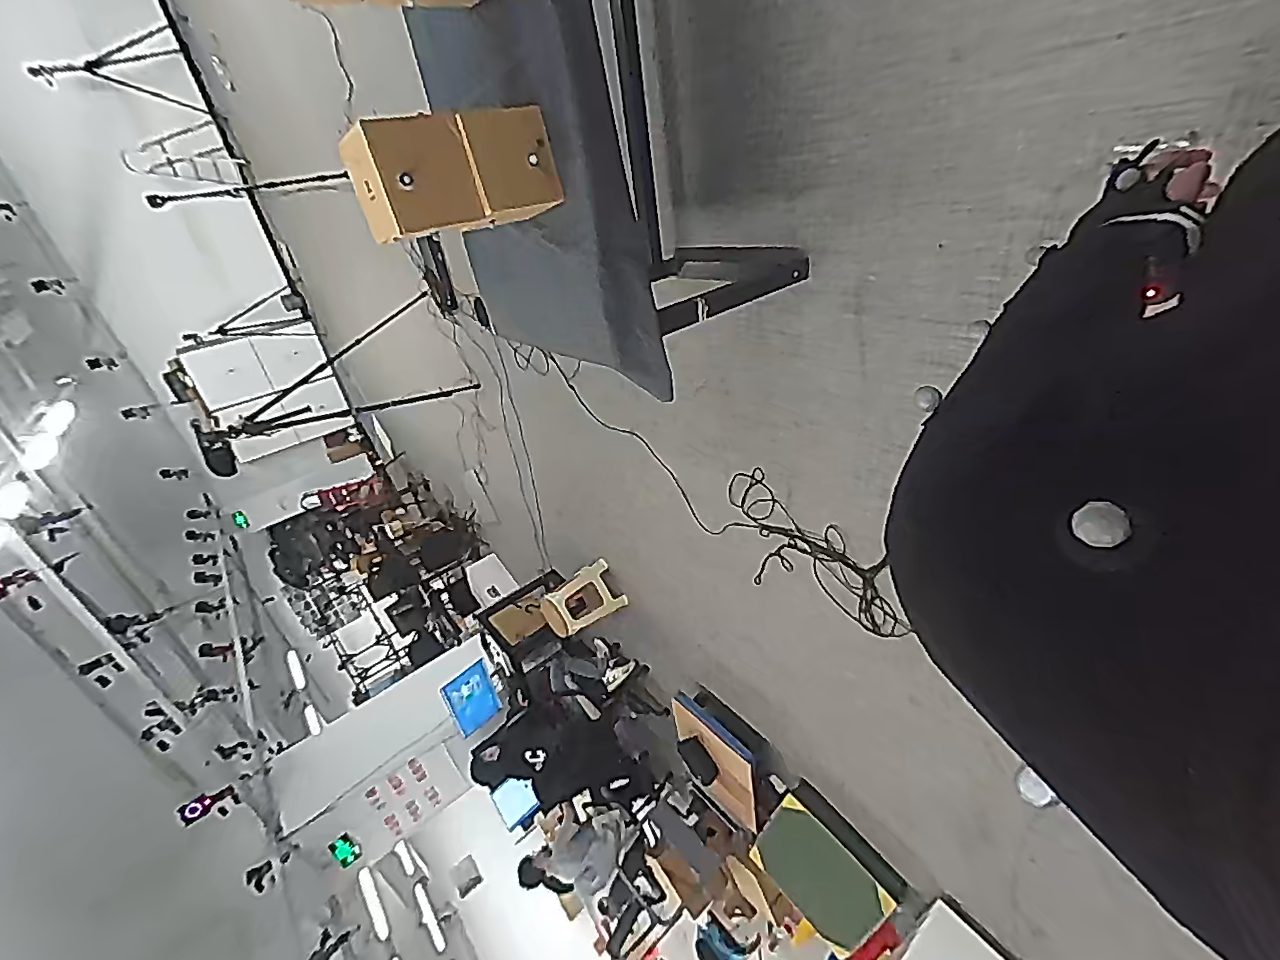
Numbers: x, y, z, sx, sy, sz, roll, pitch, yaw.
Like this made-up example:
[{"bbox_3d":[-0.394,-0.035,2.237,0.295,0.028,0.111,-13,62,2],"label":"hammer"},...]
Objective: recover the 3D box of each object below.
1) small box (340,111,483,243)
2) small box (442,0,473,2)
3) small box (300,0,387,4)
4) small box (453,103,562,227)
[{"bbox_3d":[-0.413,-0.552,0.993,0.168,0.176,0.179,19,130,48],"label":"small box"},{"bbox_3d":[-0.351,-0.931,0.900,0.168,0.176,0.179,27,136,44],"label":"small box"},{"bbox_3d":[-0.481,-0.858,0.821,0.168,0.176,0.179,28,137,44],"label":"small box"},{"bbox_3d":[-0.279,-0.614,1.063,0.179,0.176,0.168,15,128,51],"label":"small box"}]
